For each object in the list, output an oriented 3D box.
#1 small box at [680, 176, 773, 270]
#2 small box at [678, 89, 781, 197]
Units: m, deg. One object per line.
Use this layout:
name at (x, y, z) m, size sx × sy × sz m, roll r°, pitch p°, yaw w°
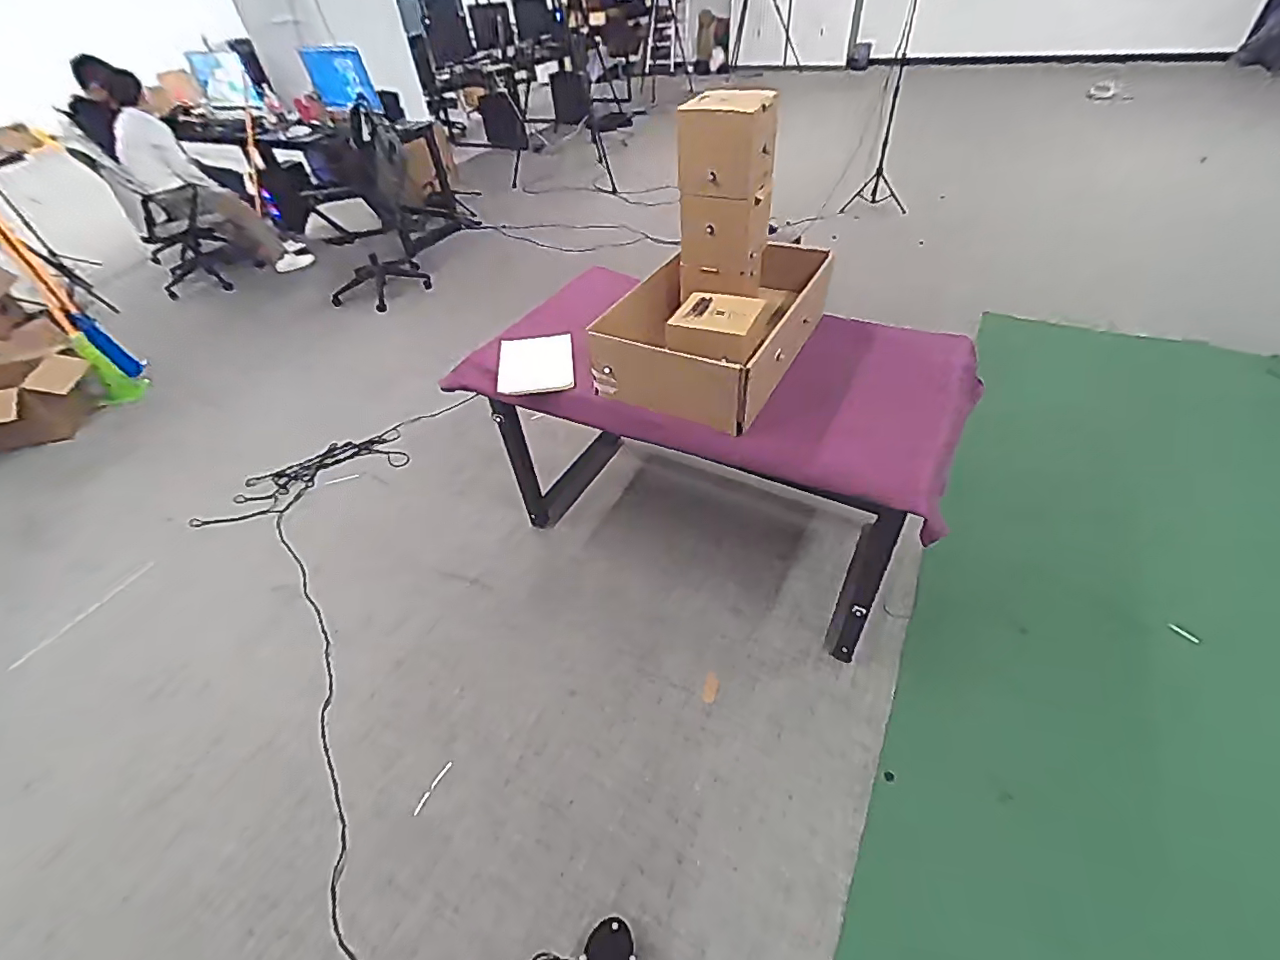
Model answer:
small box at (0.212, -0.637, 1.331) m, size 0.179 × 0.176 × 0.168 m, roll 17°, pitch 50°, yaw 22°
small box at (0.199, -0.755, 1.217) m, size 0.179 × 0.176 × 0.168 m, roll 20°, pitch 51°, yaw 22°
